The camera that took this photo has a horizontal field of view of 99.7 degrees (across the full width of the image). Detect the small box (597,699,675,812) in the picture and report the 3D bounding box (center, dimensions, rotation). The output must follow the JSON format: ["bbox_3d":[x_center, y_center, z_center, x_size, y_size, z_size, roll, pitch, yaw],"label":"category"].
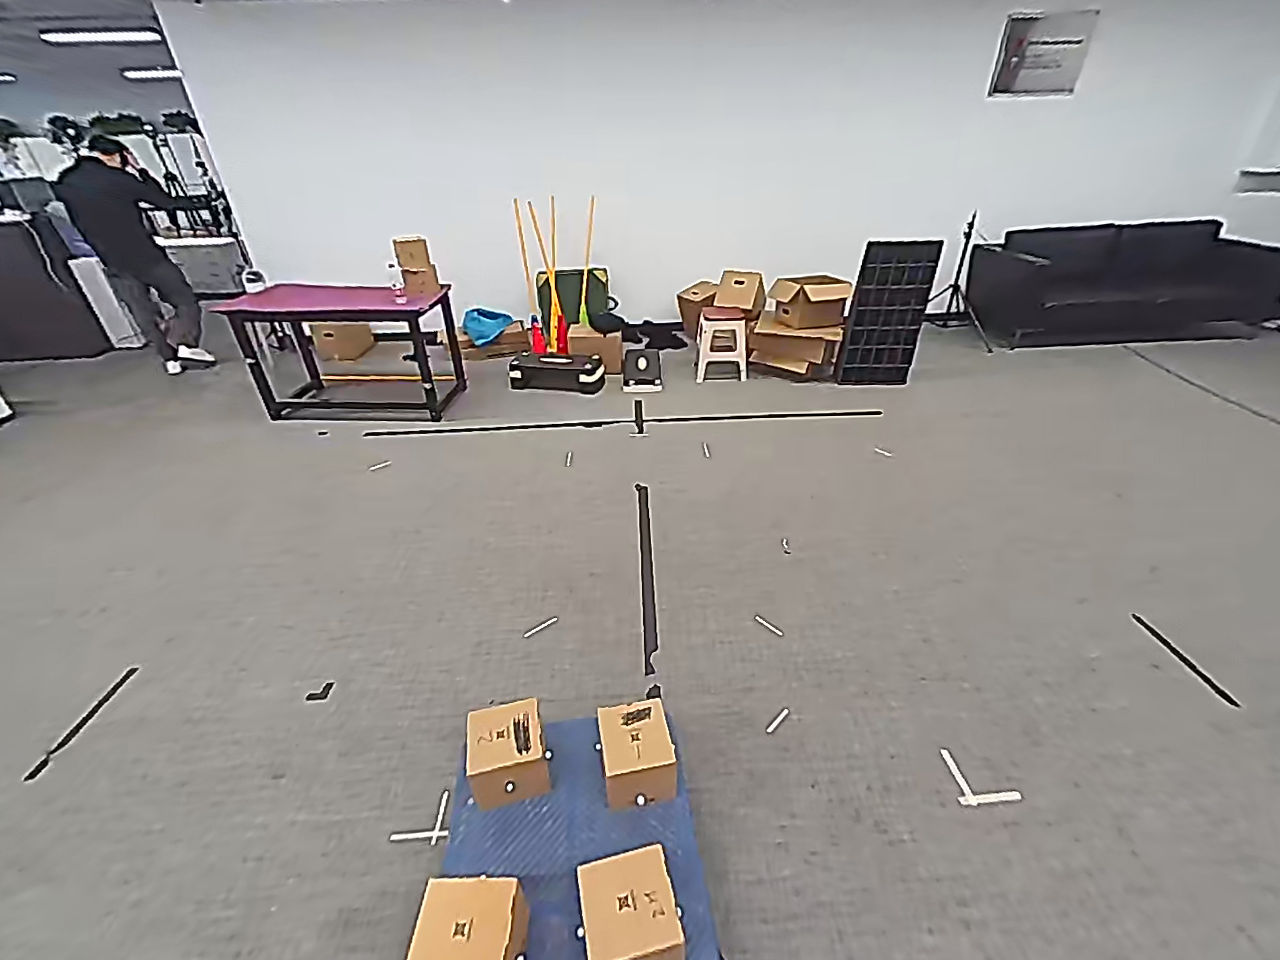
[{"bbox_3d":[-0.015,0.677,1.336,0.168,0.176,0.179,-7,34,-8],"label":"small box"}]

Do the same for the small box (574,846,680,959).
[{"bbox_3d":[-0.025,0.859,1.051,0.179,0.176,0.168,-8,33,-10],"label":"small box"}]

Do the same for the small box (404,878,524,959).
[{"bbox_3d":[-0.327,0.885,1.023,0.179,0.176,0.168,0,32,-1],"label":"small box"}]
